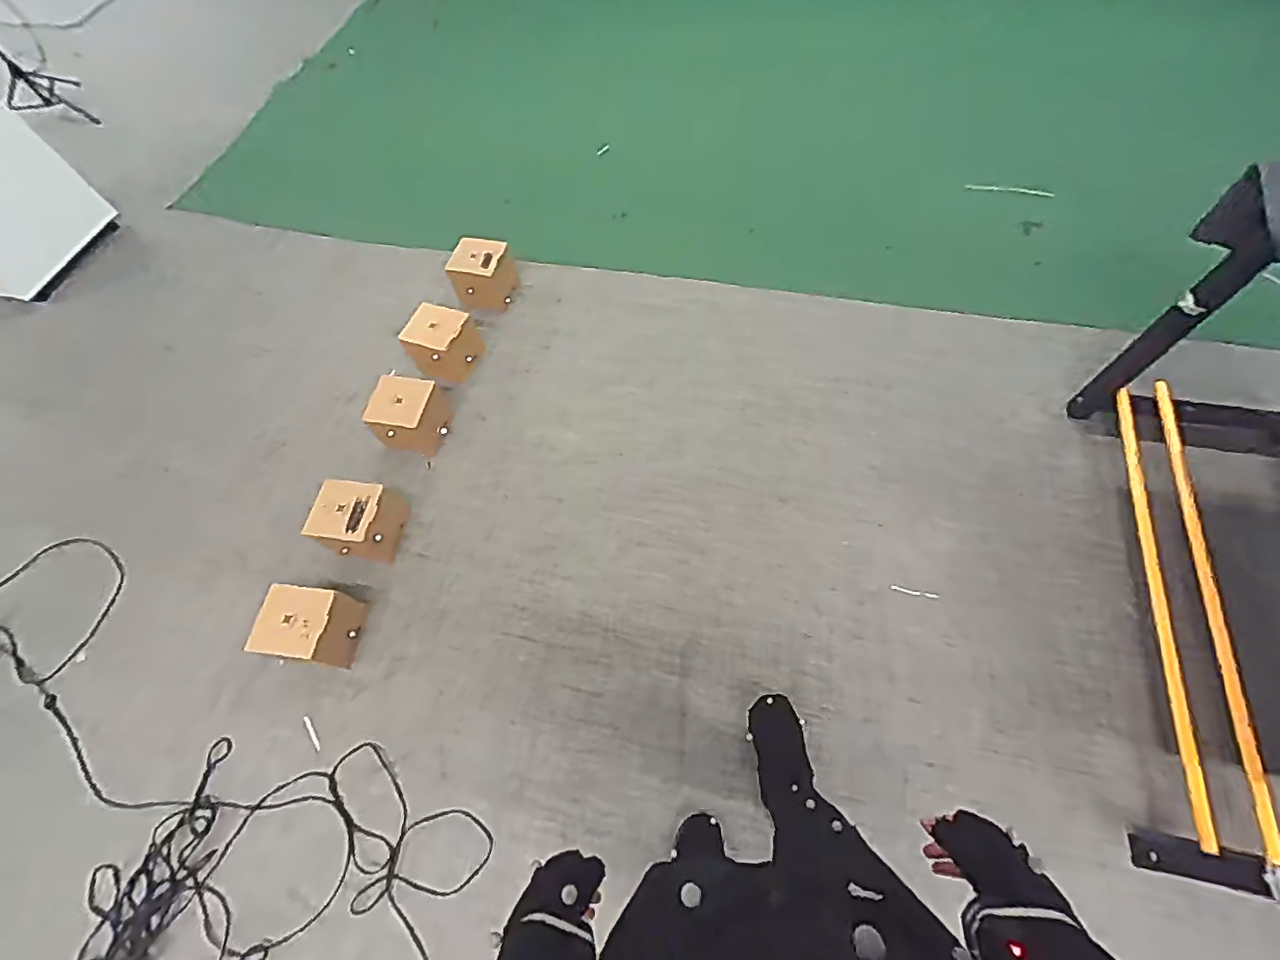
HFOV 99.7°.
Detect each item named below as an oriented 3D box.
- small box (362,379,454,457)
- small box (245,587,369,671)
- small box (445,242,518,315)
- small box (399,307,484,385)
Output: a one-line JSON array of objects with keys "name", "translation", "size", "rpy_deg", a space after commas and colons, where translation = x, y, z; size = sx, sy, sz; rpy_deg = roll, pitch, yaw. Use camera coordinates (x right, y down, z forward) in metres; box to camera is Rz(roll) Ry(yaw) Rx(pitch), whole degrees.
[{"name": "small box", "translation": [-0.701, -0.186, 1.652], "size": [0.179, 0.176, 0.168], "rpy_deg": [9, 65, 6]}, {"name": "small box", "translation": [-0.831, 0.381, 1.367], "size": [0.179, 0.176, 0.168], "rpy_deg": [5, 64, 6]}, {"name": "small box", "translation": [-0.552, -0.708, 1.915], "size": [0.179, 0.176, 0.168], "rpy_deg": [12, 64, 11]}, {"name": "small box", "translation": [-0.646, -0.435, 1.779], "size": [0.179, 0.176, 0.168], "rpy_deg": [17, 65, 11]}]
